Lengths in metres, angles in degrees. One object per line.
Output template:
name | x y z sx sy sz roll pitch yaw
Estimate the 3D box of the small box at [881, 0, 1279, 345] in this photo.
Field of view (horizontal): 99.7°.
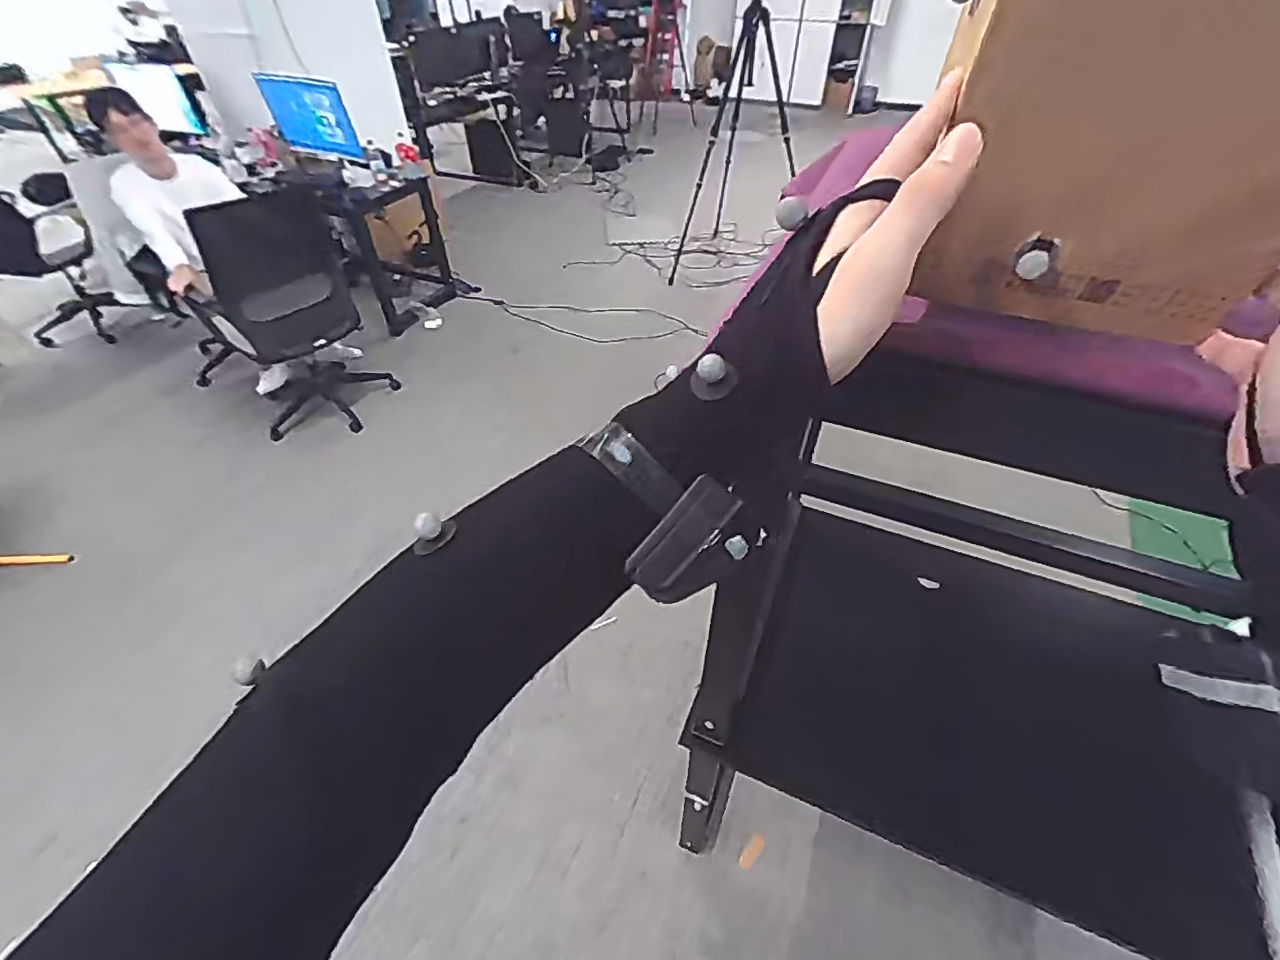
small box | 0.247 -0.205 0.293 0.168 0.176 0.179 16 59 15
